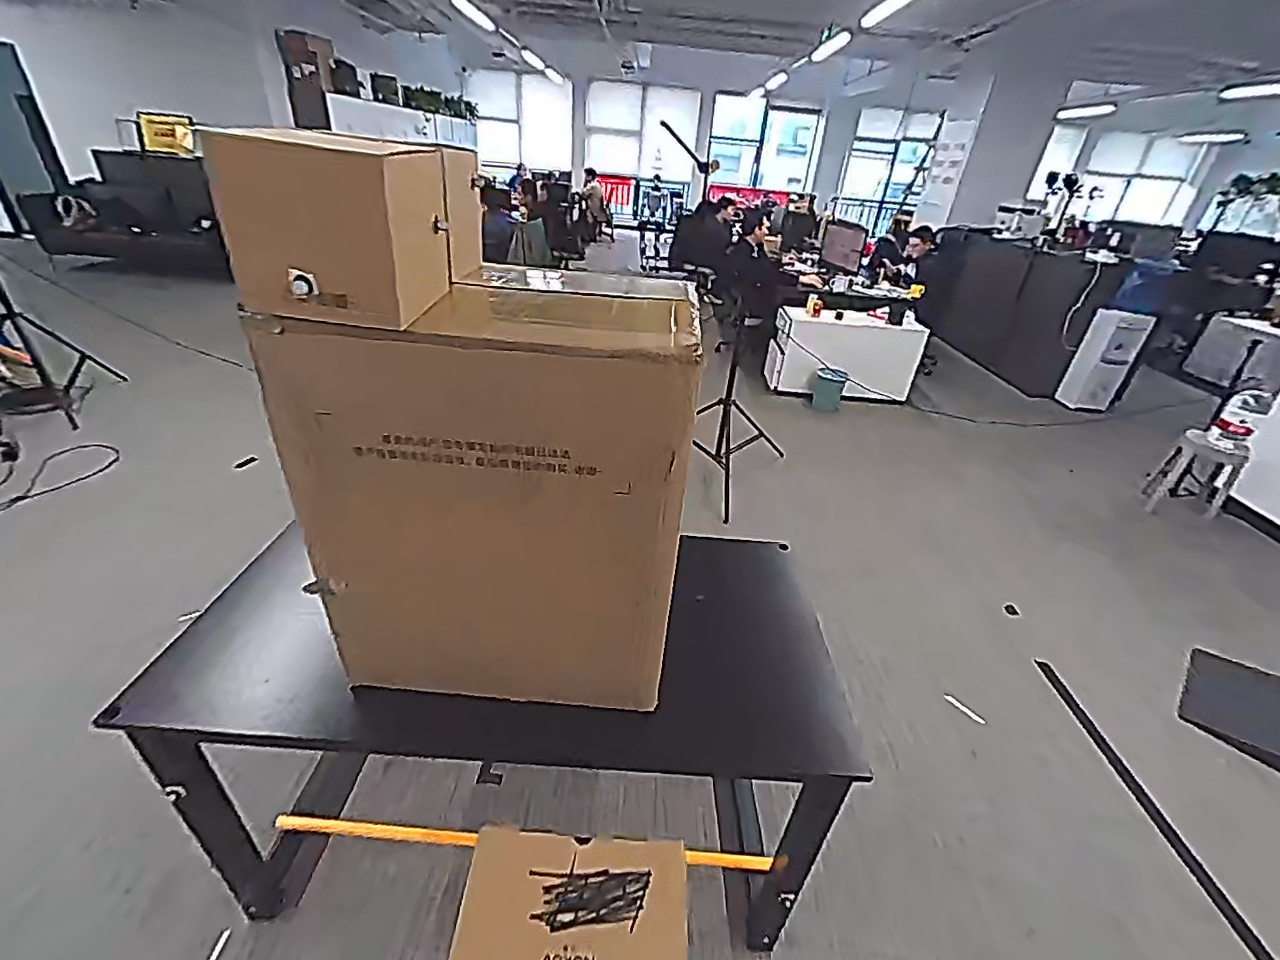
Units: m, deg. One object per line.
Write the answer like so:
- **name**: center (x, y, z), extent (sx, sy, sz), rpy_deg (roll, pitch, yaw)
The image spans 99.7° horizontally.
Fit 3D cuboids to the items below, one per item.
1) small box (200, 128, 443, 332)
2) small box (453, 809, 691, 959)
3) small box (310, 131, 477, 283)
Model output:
- **small box**: center (-0.326, -0.279, 0.601), extent (0.168, 0.176, 0.179), rpy_deg (4, 33, -4)
- **small box**: center (-0.053, 0.387, 0.420), extent (0.168, 0.176, 0.179), rpy_deg (5, 41, -2)
- **small box**: center (-0.340, -0.392, 0.784), extent (0.168, 0.176, 0.179), rpy_deg (4, 29, -3)
